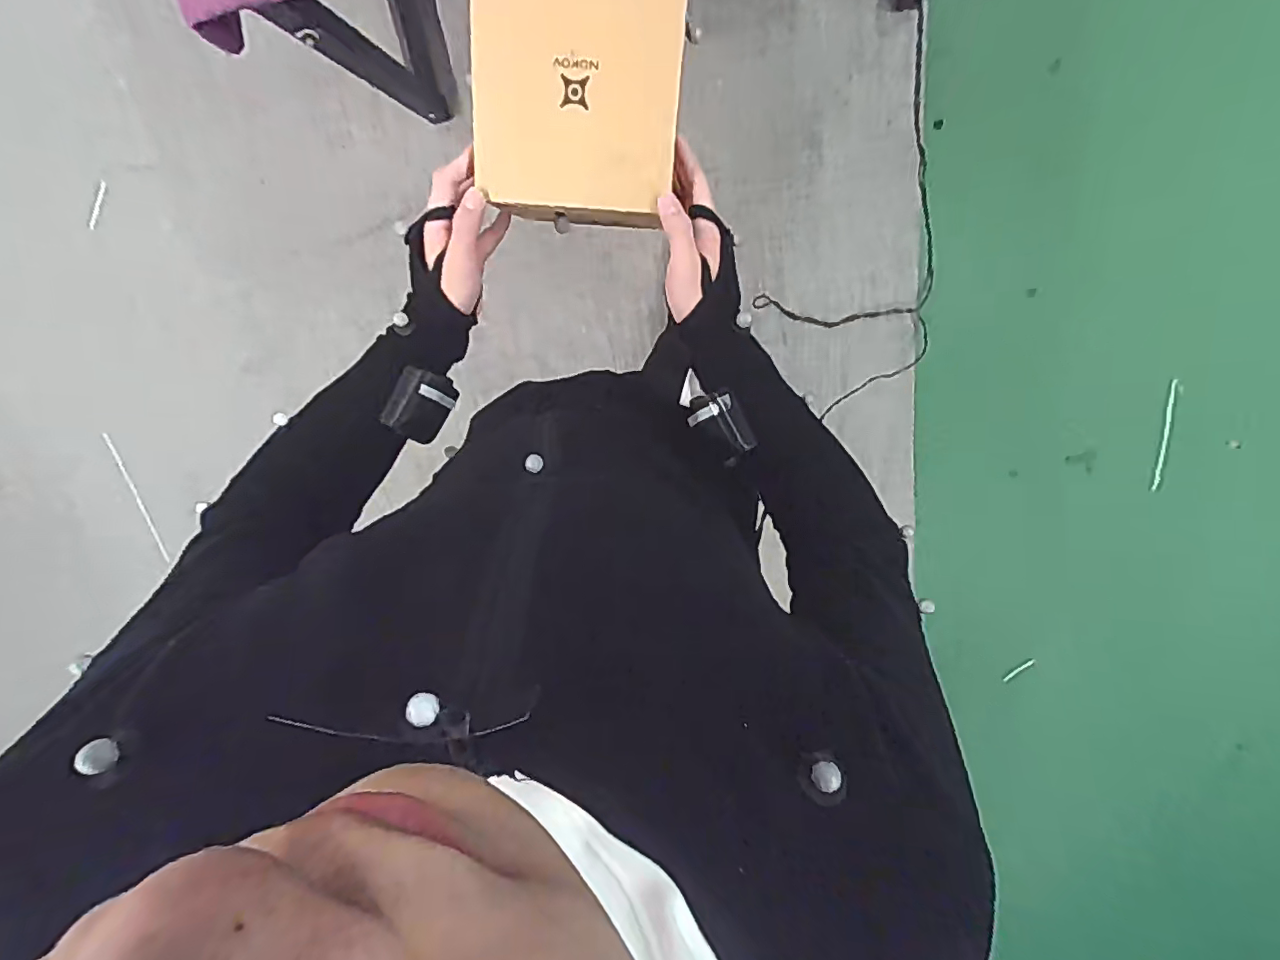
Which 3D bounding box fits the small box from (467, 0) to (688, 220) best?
[{"bbox_3d":[-0.046,-0.342,0.491,0.168,0.176,0.179,5,110,2],"label":"small box"}]
